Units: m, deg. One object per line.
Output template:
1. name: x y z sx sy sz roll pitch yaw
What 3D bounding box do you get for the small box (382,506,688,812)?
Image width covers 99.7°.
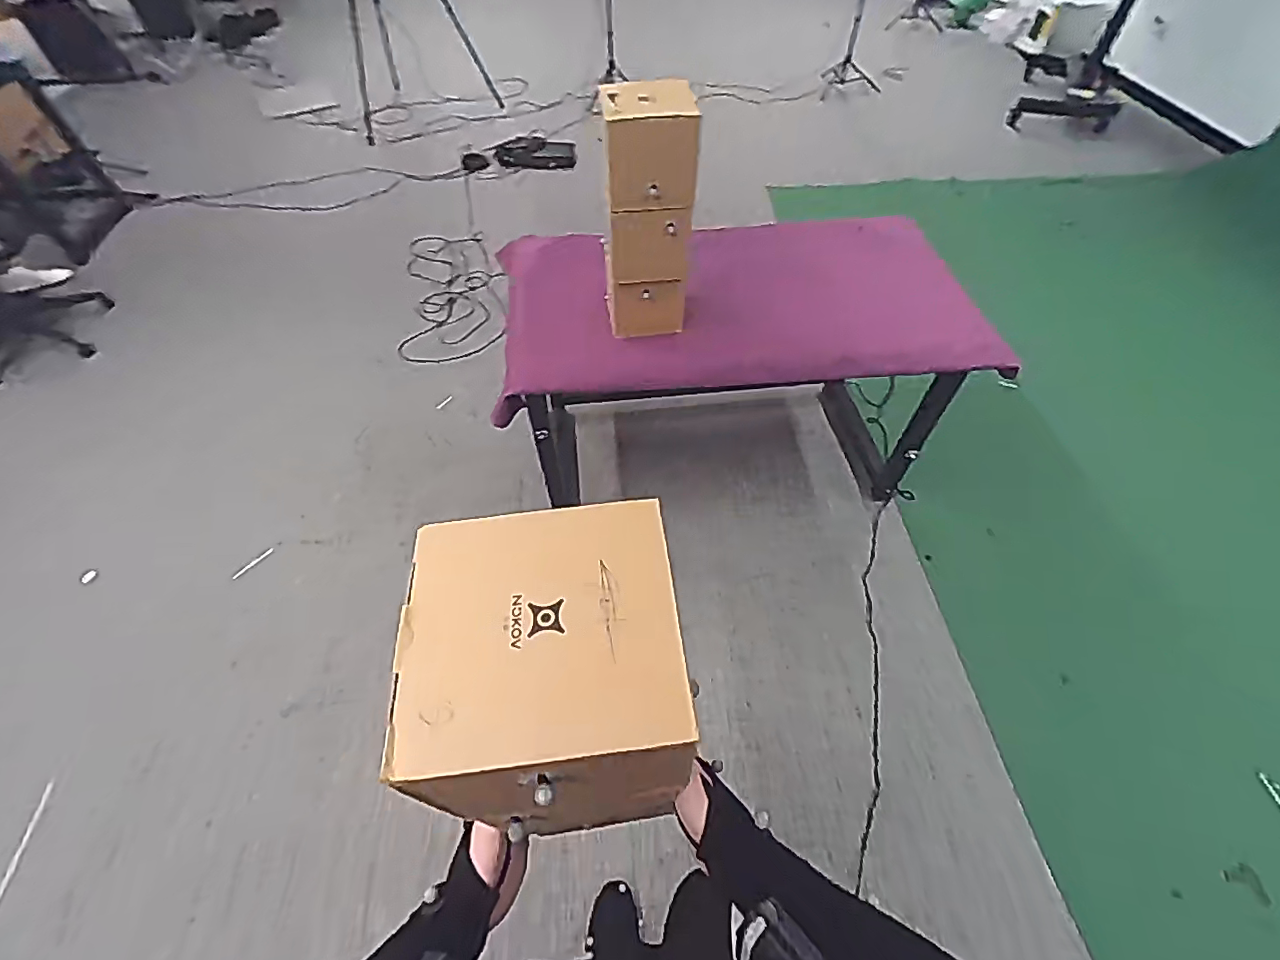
1. small box: -0.060 0.141 0.410 0.179 0.176 0.168 -6 52 -2

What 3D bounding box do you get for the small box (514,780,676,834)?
1. small box: -0.052 0.330 0.678 0.179 0.176 0.168 -7 52 -3

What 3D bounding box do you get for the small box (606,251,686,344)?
1. small box: 0.012 -0.462 1.352 0.179 0.176 0.168 -7 54 -3

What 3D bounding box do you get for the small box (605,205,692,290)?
1. small box: 0.014 -0.548 1.210 0.179 0.176 0.168 -5 53 -2

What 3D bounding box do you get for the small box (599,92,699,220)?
1. small box: 0.012 -0.642 1.076 0.179 0.176 0.168 -5 54 -4
